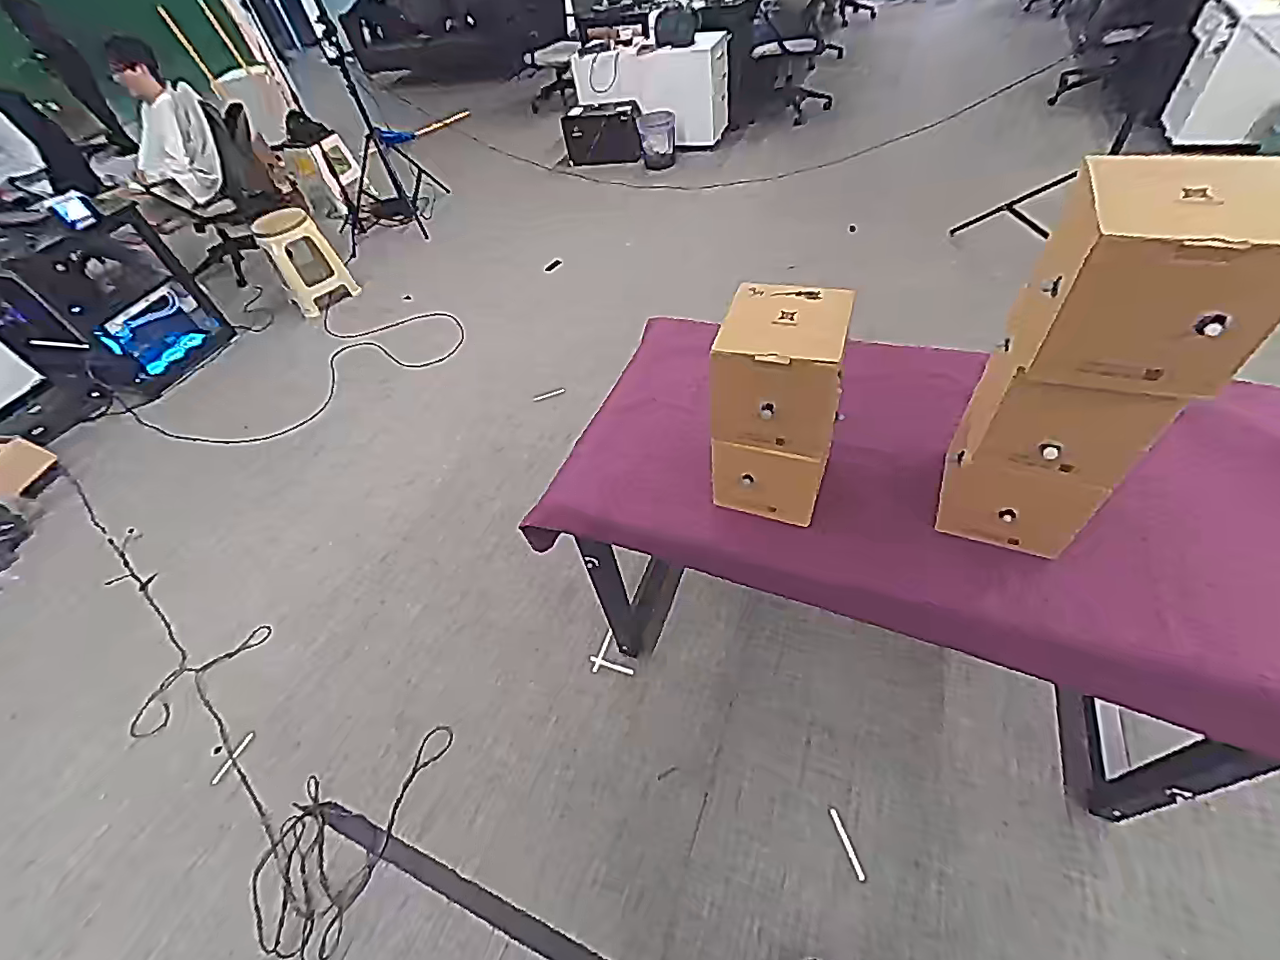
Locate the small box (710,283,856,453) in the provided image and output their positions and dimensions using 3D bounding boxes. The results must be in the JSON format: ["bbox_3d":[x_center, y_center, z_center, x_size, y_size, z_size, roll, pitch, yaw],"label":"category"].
[{"bbox_3d":[0.208,-0.163,0.794,0.168,0.176,0.179,12,52,18],"label":"small box"}]

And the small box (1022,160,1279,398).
[{"bbox_3d":[0.524,-0.208,0.562,0.168,0.176,0.179,13,53,19],"label":"small box"}]

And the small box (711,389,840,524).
[{"bbox_3d":[0.227,-0.051,0.912,0.168,0.176,0.179,14,52,20],"label":"small box"}]

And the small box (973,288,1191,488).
[{"bbox_3d":[0.552,-0.120,0.697,0.168,0.176,0.179,15,54,21],"label":"small box"}]

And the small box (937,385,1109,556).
[{"bbox_3d":[0.569,-0.012,0.820,0.168,0.176,0.179,16,54,21],"label":"small box"}]
